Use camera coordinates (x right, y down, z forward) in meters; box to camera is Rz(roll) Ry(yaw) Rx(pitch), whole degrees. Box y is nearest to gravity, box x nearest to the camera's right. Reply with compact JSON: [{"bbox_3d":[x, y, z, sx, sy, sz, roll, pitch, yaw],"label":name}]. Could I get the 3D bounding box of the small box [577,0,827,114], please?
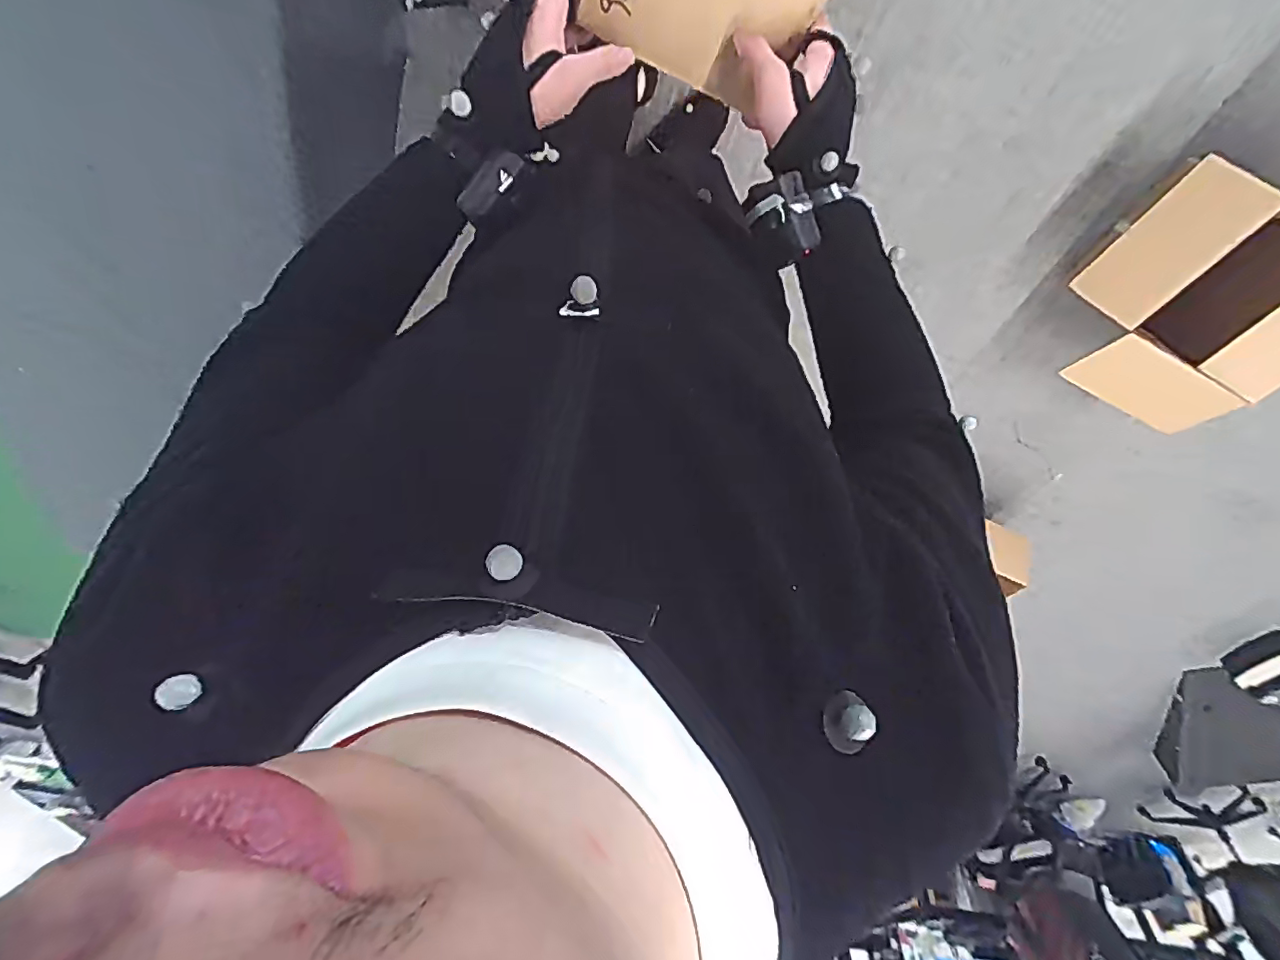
[{"bbox_3d":[0.059,-0.448,0.432,0.179,0.176,0.168,13,141,-21],"label":"small box"}]
